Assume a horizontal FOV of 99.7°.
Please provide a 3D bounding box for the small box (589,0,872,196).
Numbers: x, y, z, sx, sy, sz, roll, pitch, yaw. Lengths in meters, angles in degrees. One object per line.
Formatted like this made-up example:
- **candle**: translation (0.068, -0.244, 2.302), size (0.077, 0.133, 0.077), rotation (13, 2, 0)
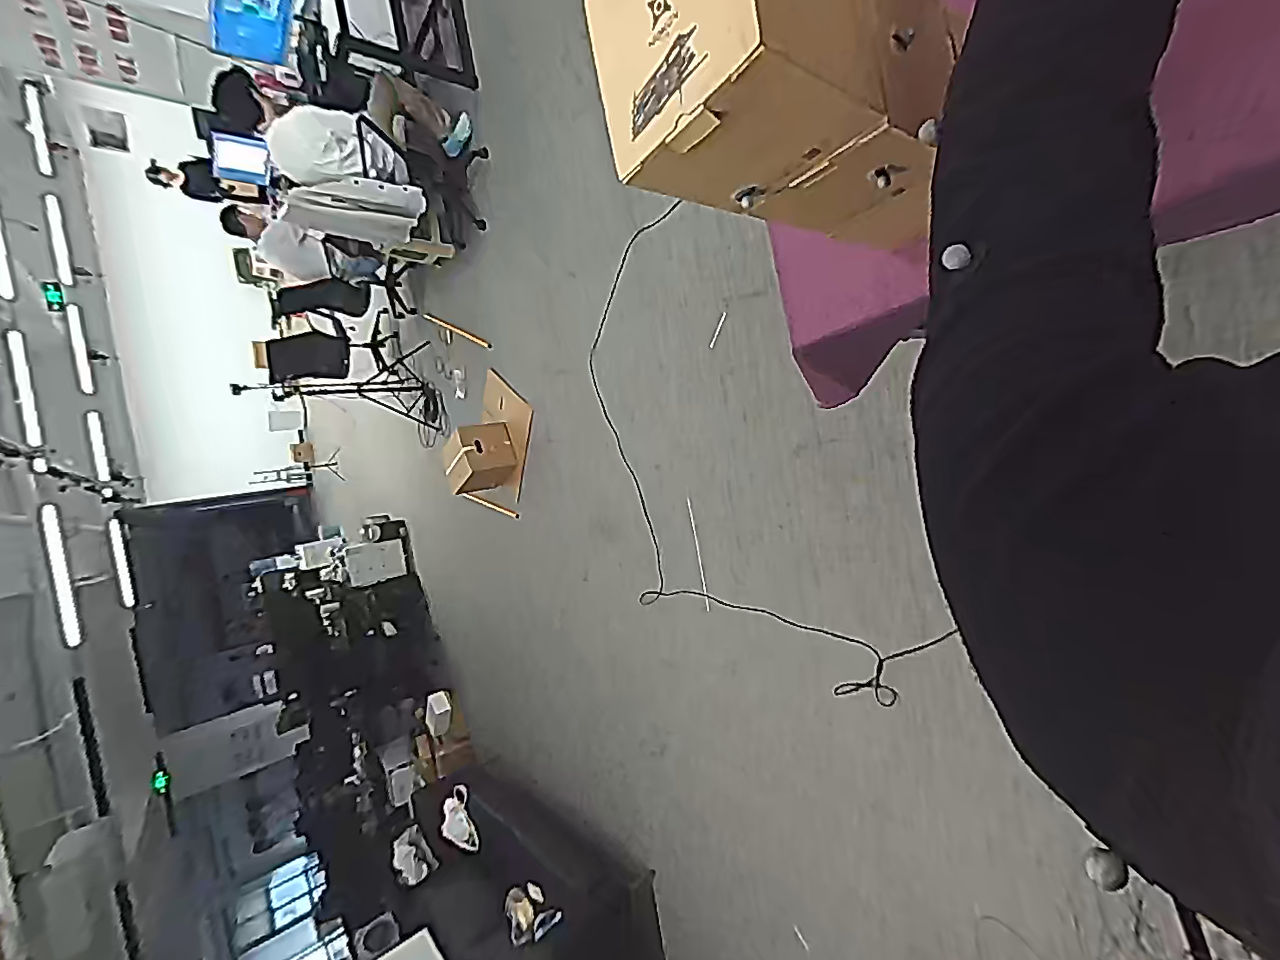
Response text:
- **small box**: translation (0.080, -0.378, 0.478), size (0.168, 0.176, 0.179), rotation (-12, 88, 51)

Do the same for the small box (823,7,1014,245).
- **small box**: translation (0.339, -0.416, 0.675), size (0.179, 0.176, 0.168), rotation (-9, 91, 52)

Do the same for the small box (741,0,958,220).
- **small box**: translation (0.213, -0.398, 0.574), size (0.168, 0.176, 0.179), rotation (-7, 93, 52)
